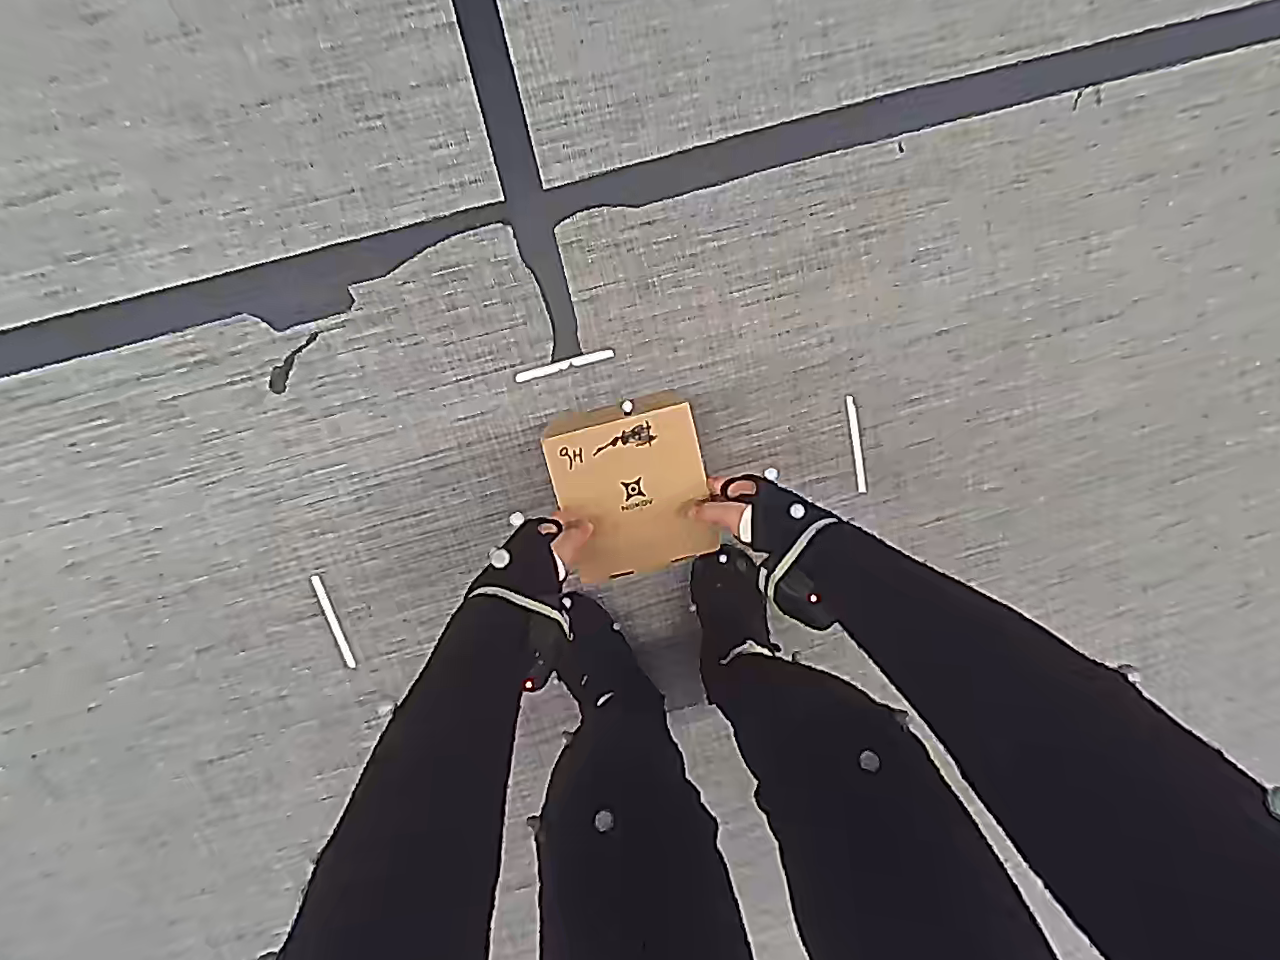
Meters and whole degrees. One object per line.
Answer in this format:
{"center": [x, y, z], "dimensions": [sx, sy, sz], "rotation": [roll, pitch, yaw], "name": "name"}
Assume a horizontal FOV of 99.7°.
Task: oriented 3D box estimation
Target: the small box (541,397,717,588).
{"center": [-0.013, 0.005, 0.665], "dimensions": [0.168, 0.176, 0.179], "rotation": [-13, 104, -2], "name": "small box"}
